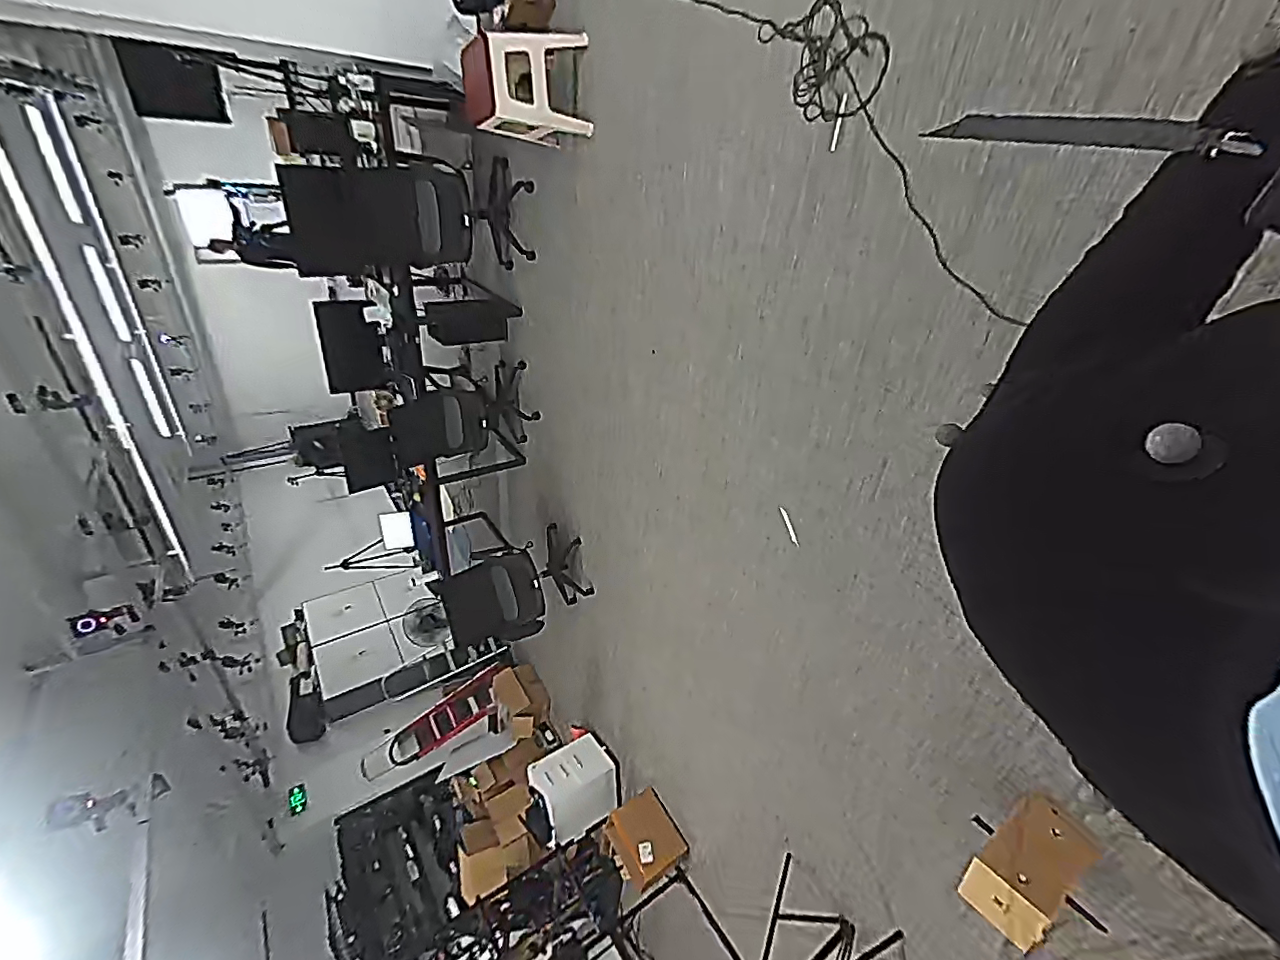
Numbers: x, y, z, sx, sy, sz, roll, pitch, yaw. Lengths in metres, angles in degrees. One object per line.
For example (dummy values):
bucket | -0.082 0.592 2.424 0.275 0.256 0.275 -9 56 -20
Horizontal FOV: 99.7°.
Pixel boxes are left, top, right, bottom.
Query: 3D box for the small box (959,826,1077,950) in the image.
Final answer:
small box | 0.982 1.046 1.409 0.179 0.176 0.168 32 130 46

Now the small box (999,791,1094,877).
small box | 1.111 1.012 1.502 0.168 0.176 0.179 42 137 41
